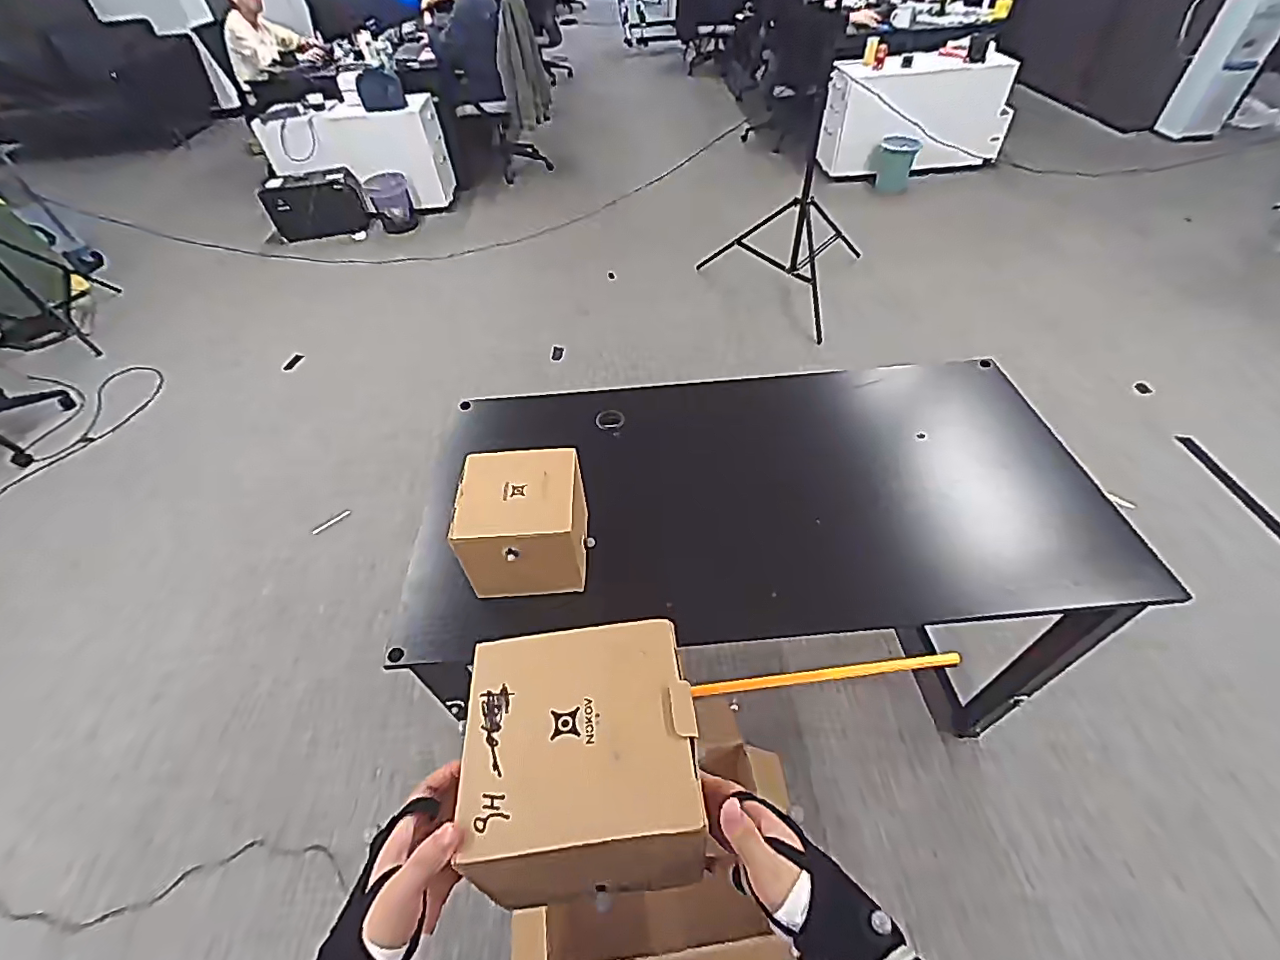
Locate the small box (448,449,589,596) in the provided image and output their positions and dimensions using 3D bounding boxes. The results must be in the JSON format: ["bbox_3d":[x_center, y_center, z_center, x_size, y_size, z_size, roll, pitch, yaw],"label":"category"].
[{"bbox_3d":[-0.180,0.071,0.856,0.179,0.176,0.168,-4,49,-1],"label":"small box"}]
